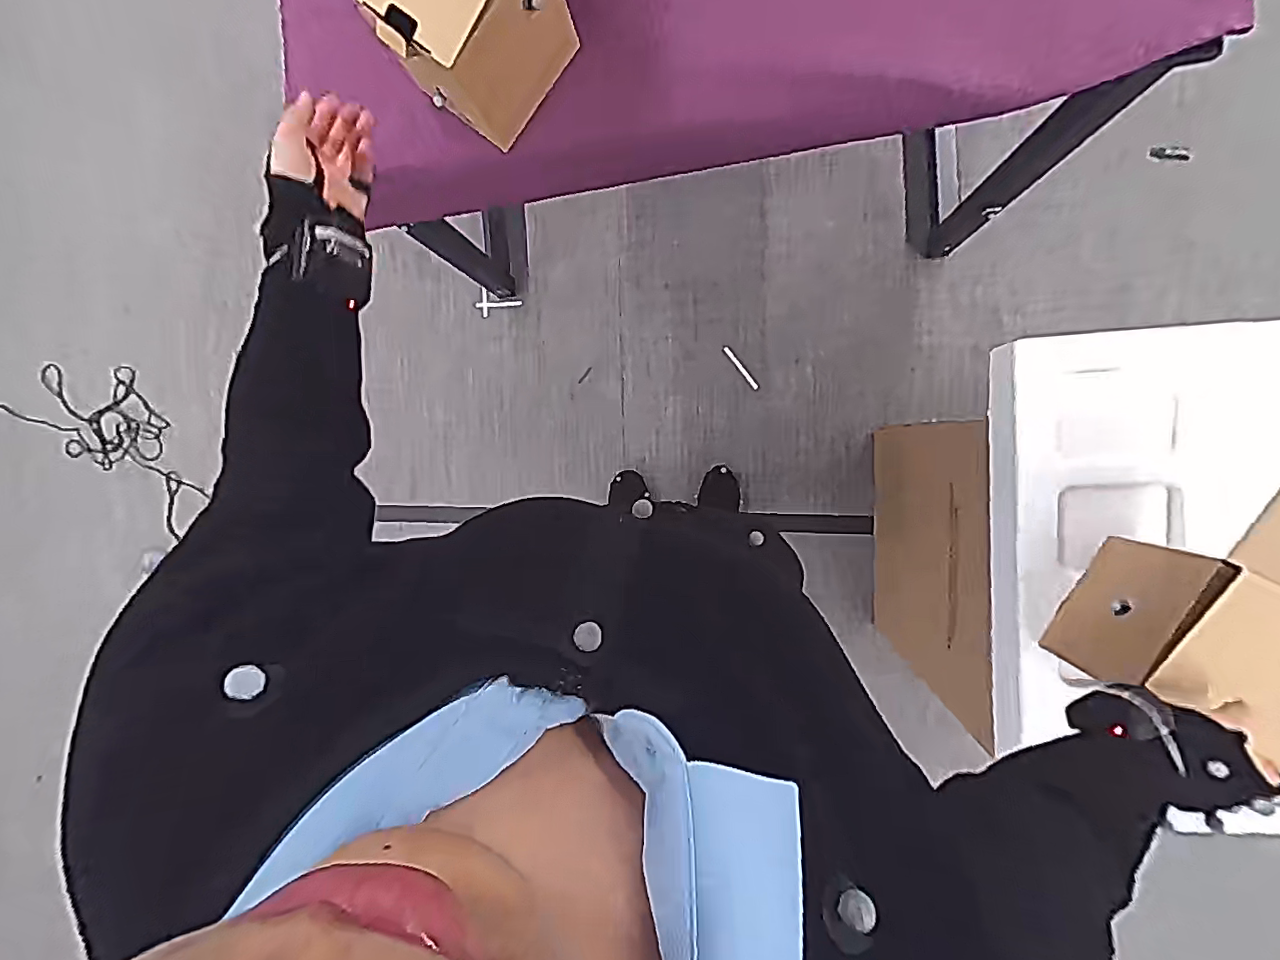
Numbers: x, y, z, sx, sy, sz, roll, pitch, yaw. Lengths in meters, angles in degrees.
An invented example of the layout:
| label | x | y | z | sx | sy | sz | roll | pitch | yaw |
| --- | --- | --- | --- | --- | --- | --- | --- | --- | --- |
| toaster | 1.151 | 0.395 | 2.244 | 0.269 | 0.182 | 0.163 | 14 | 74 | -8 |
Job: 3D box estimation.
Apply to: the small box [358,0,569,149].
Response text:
| label | x | y | z | sx | sy | sz | roll | pitch | yaw |
| --- | --- | --- | --- | --- | --- | --- | --- | --- | --- |
| small box | -0.208 | -0.573 | 0.677 | 0.168 | 0.176 | 0.179 | 39 | 96 | 5 |
